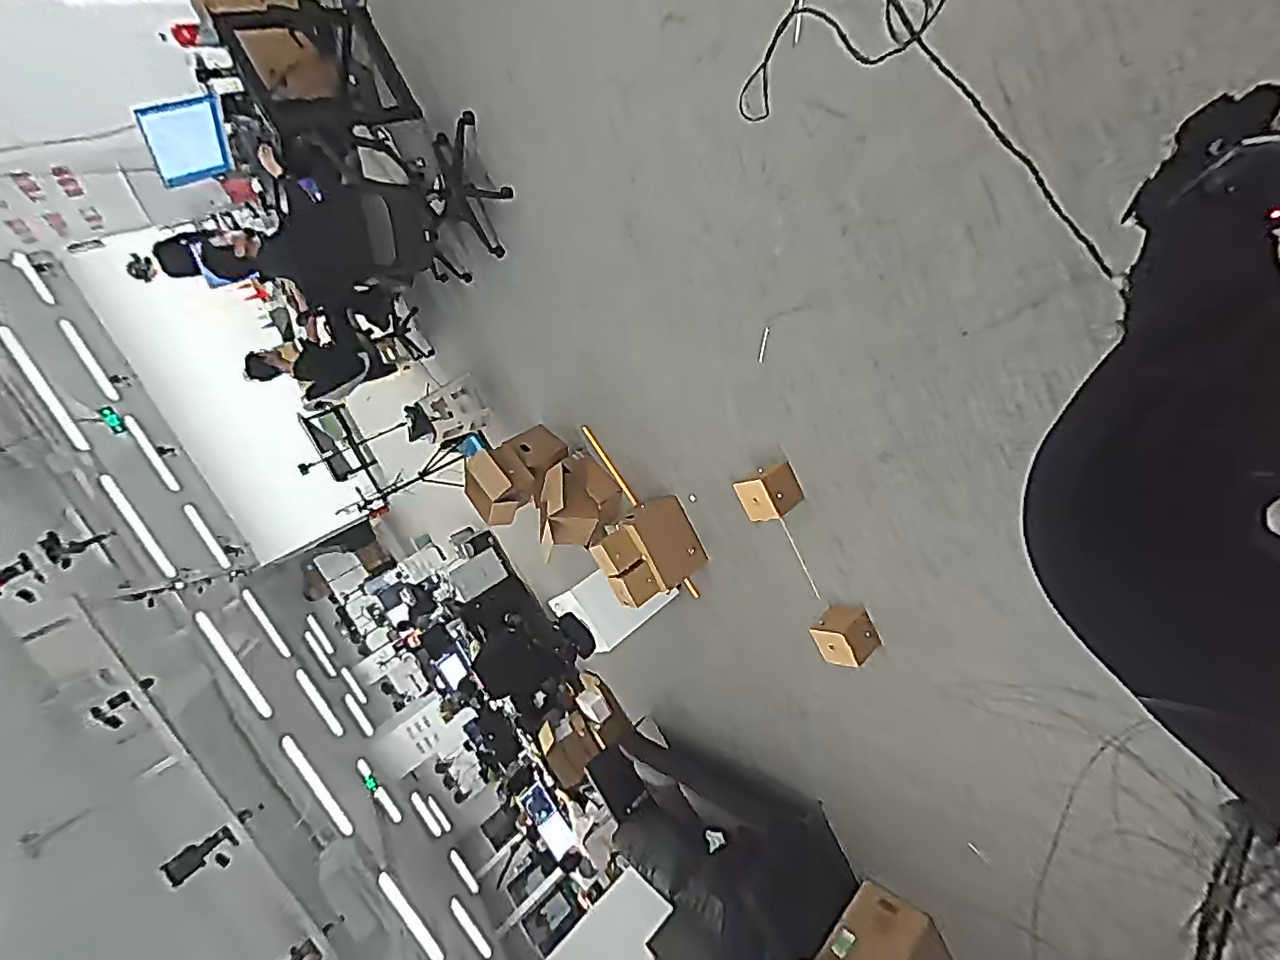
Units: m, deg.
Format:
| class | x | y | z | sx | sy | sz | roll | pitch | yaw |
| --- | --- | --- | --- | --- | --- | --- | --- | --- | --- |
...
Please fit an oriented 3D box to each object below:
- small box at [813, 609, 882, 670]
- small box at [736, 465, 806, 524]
| class | x | y | z | sx | sy | sz | roll | pitch | yaw |
| --- | --- | --- | --- | --- | --- | --- | --- | --- | --- |
| small box | 0.853 | 0.648 | 2.219 | 0.179 | 0.176 | 0.168 | -15 | 106 | 59 |
| small box | 0.522 | 0.053 | 2.138 | 0.168 | 0.176 | 0.179 | -15 | 106 | 59 |
